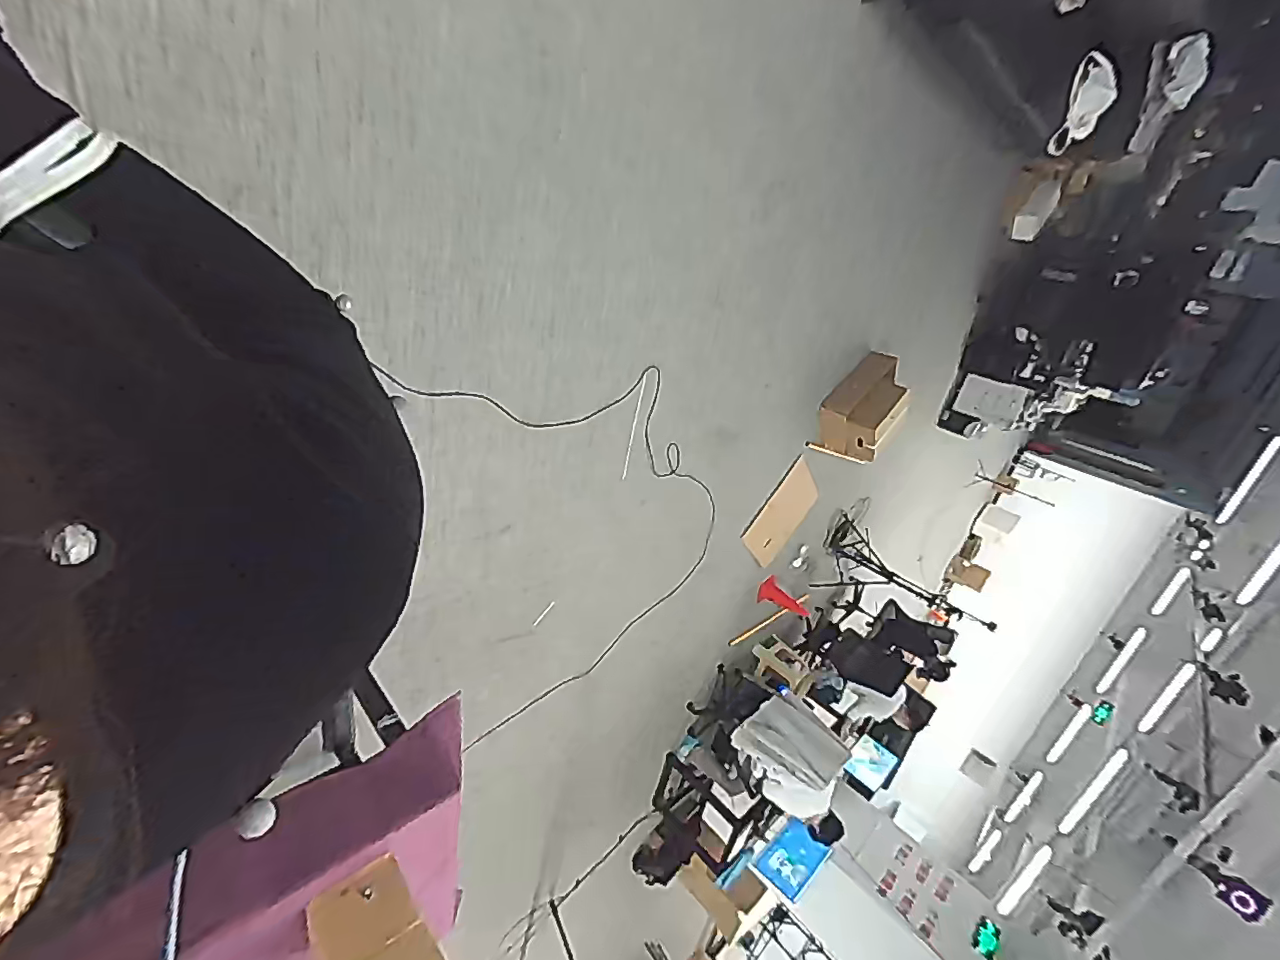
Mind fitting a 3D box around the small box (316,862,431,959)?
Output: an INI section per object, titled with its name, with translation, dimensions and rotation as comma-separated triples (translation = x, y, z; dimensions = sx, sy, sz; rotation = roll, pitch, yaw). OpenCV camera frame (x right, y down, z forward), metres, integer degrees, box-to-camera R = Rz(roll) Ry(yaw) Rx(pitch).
[small box]
translation = -0.549, 0.948, 1.112
dimensions = 0.168, 0.176, 0.179
rotation = -13, 123, -44
